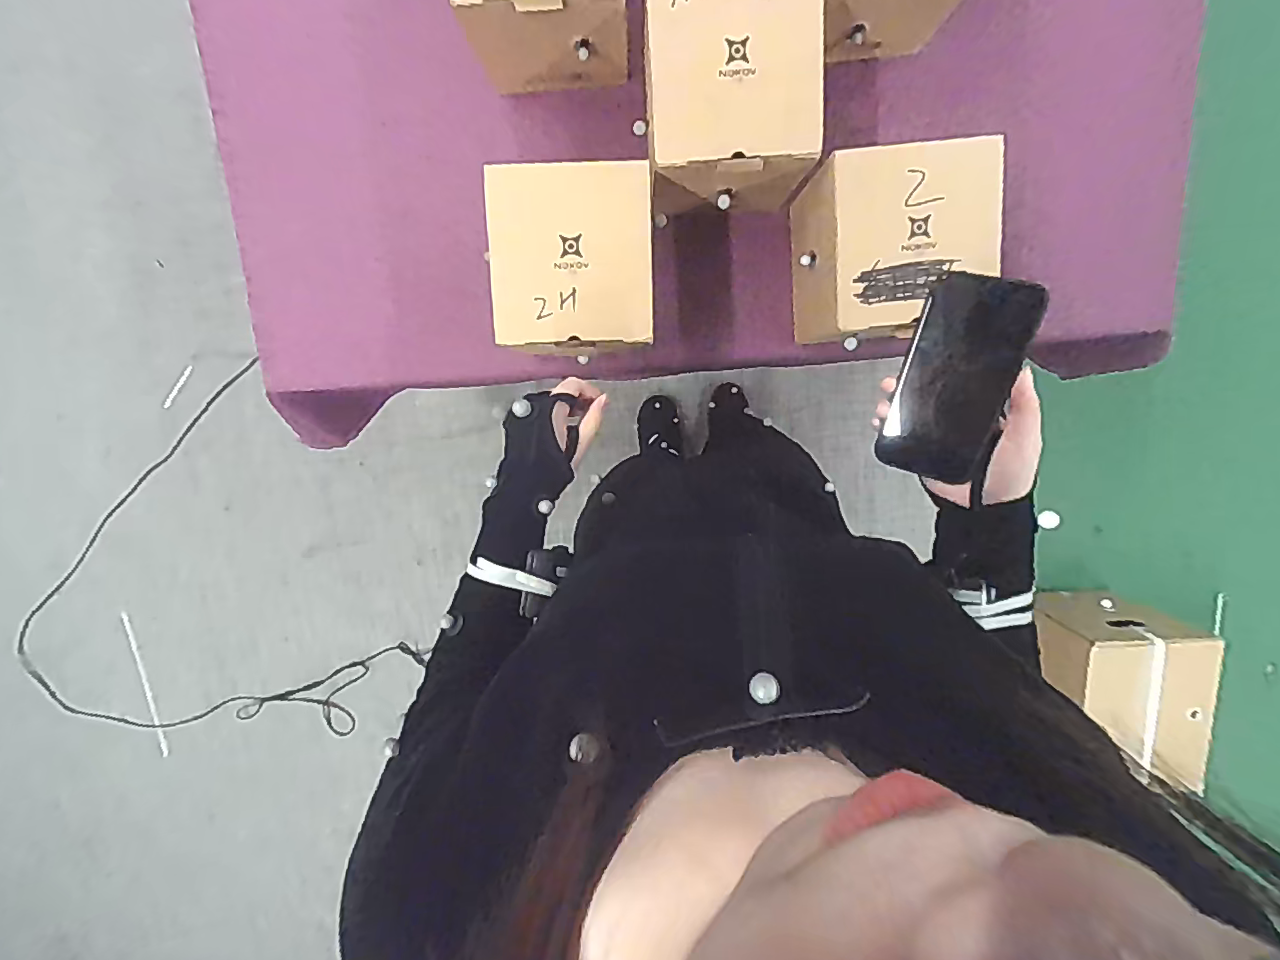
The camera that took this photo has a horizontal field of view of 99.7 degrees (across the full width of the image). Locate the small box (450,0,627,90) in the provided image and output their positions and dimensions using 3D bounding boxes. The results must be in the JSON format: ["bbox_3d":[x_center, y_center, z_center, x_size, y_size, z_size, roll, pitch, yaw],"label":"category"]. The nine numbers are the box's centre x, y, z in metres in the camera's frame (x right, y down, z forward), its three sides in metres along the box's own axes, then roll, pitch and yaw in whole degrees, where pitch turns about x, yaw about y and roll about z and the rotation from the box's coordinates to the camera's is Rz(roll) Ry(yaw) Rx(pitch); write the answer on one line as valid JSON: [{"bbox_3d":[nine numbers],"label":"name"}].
[{"bbox_3d":[-0.102,-0.544,0.571,0.168,0.176,0.179,-4,100,0],"label":"small box"}]

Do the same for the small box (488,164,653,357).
[{"bbox_3d":[-0.069,-0.238,0.625,0.168,0.176,0.179,-1,100,1],"label":"small box"}]

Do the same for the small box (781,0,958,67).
[{"bbox_3d":[0.246,-0.579,0.562,0.168,0.176,0.179,-6,102,2],"label":"small box"}]
